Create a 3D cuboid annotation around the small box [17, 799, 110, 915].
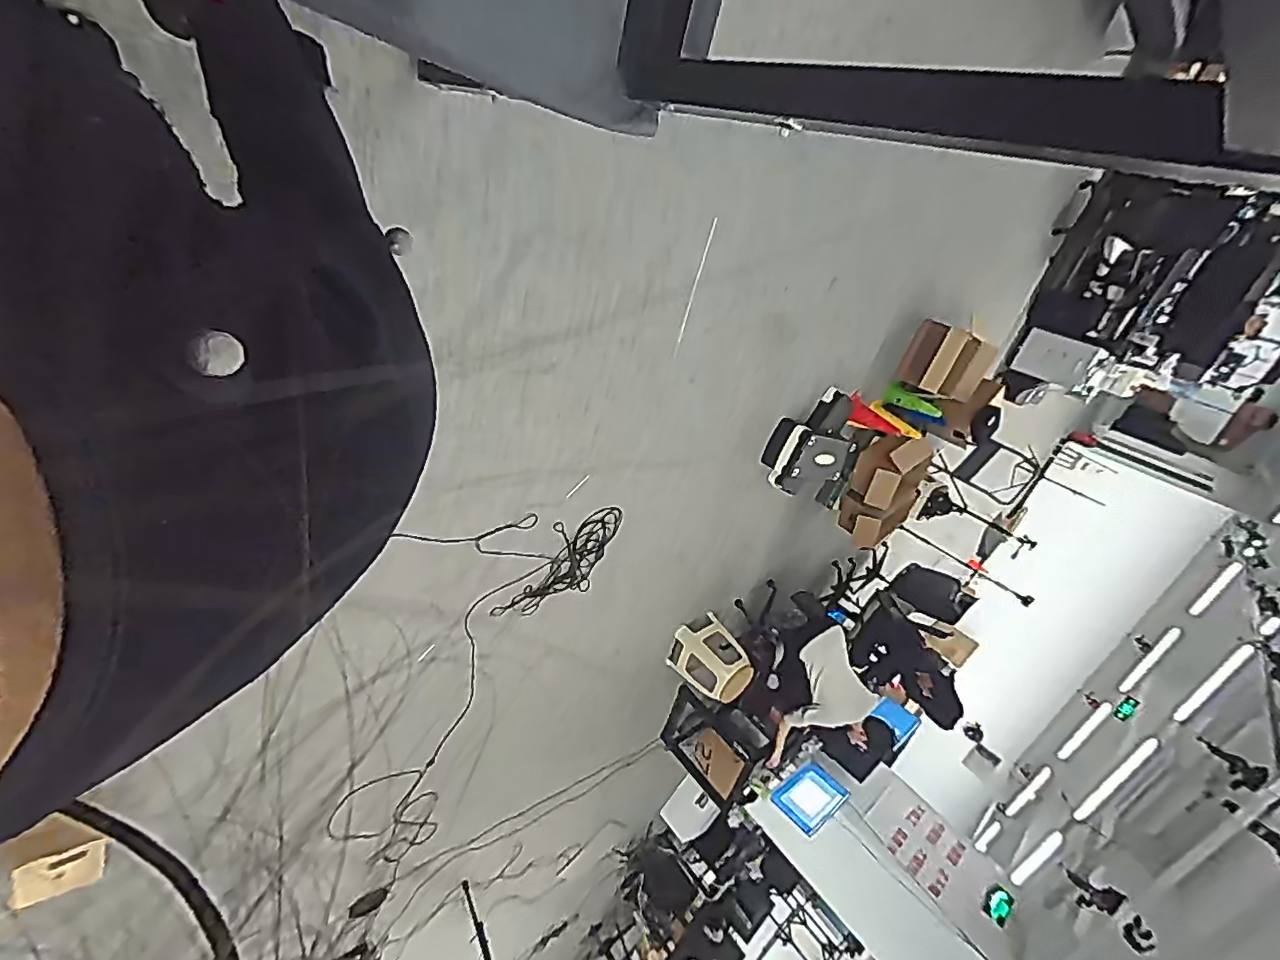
[{"bbox_3d":[-1.561,1.005,1.465,0.168,0.176,0.179,2,118,-46],"label":"small box"}]
